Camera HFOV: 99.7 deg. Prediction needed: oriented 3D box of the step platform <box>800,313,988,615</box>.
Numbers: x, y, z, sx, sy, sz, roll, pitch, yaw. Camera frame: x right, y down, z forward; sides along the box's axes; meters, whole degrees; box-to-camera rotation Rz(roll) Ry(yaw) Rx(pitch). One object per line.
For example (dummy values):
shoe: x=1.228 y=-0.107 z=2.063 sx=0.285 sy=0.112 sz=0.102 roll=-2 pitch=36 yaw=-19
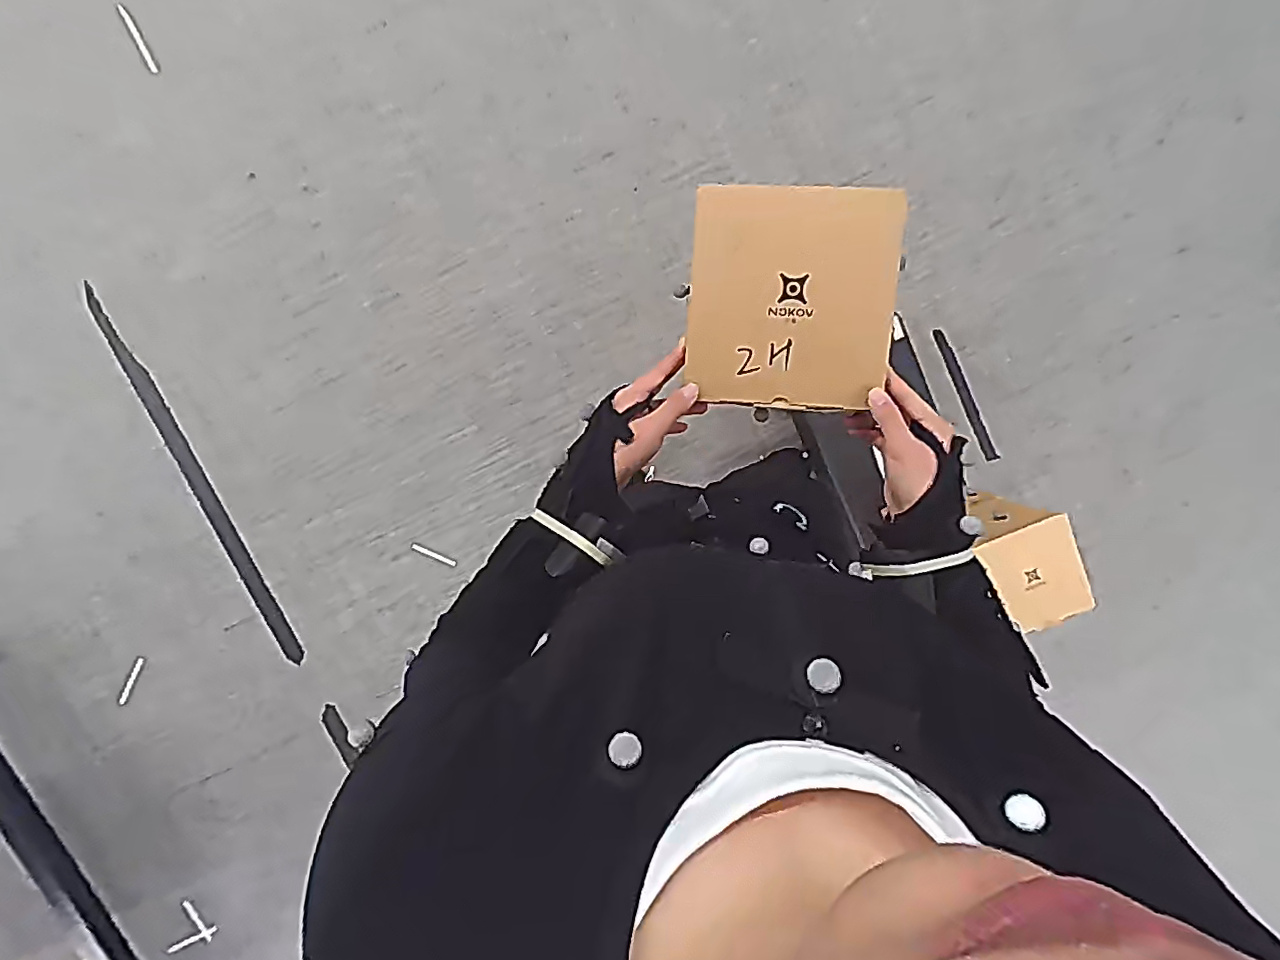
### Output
step platform: x=0.586 y=-0.033 z=1.272 sx=0.286 sy=0.204 sz=0.684 roll=-25 pitch=95 yaw=1

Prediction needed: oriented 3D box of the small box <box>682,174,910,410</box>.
small box: x=0.129 y=-0.160 z=0.511 sx=0.168 sy=0.176 sz=0.179 roll=5 pitch=99 yaw=6

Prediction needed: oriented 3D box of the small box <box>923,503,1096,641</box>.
small box: x=0.637 y=0.149 z=0.954 sx=0.168 sy=0.176 sz=0.179 roll=-22 pitch=97 yaw=2
